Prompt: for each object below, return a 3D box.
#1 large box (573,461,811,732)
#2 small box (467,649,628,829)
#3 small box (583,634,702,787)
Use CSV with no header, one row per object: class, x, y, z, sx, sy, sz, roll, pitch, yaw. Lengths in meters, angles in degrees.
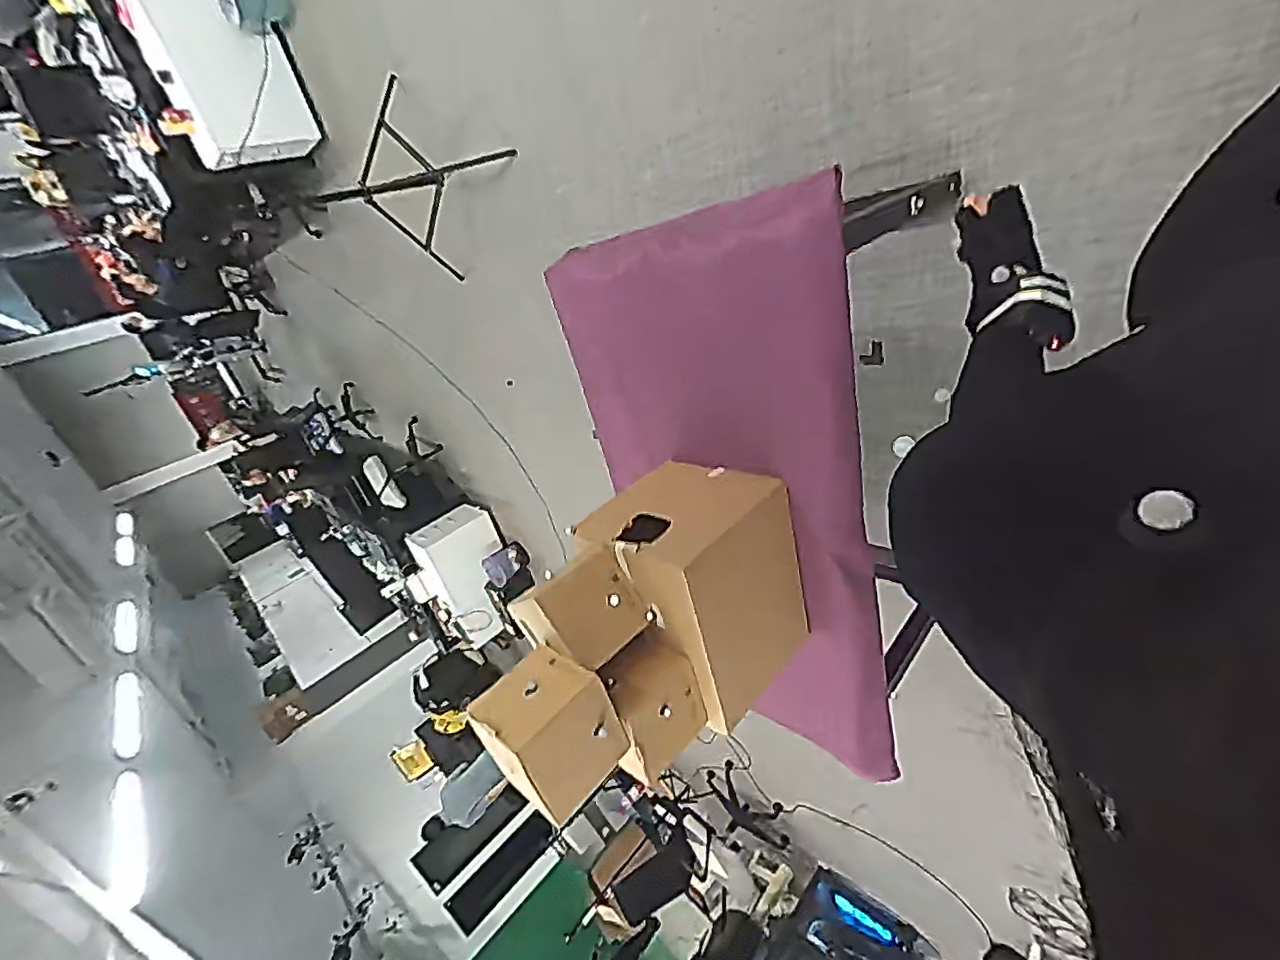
large box,0.123,0.216,1.131,0.320,0.320,0.408,10,125,46
small box,-0.148,0.415,0.899,0.168,0.176,0.179,8,125,48
small box,-0.002,0.420,1.019,0.179,0.176,0.168,11,124,48
